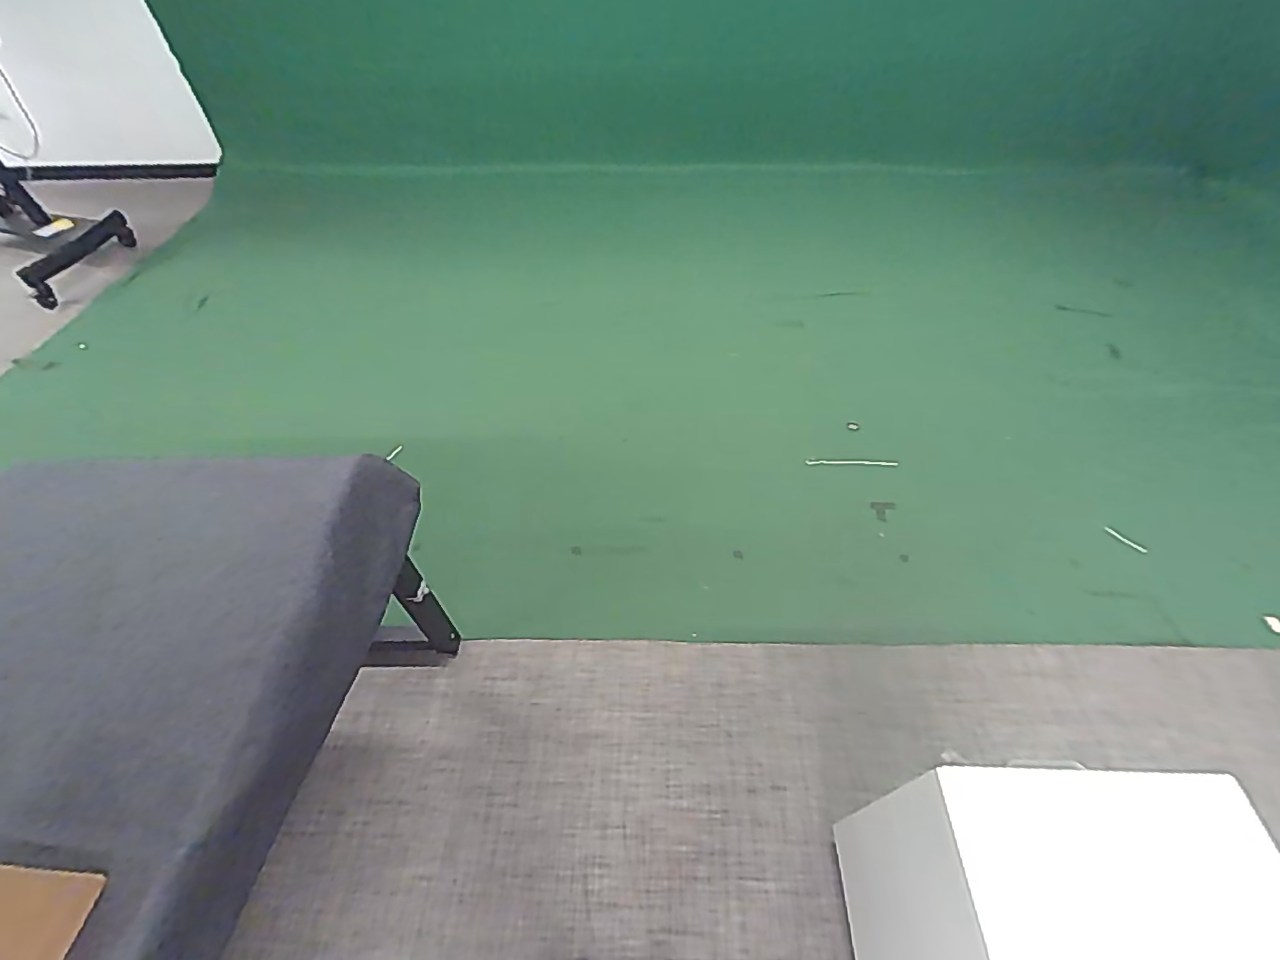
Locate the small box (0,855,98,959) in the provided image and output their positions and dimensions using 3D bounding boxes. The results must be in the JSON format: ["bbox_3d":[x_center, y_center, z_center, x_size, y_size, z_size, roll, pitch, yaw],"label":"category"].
[{"bbox_3d":[-0.645,0.424,0.460,0.168,0.176,0.179,2,51,4],"label":"small box"}]
